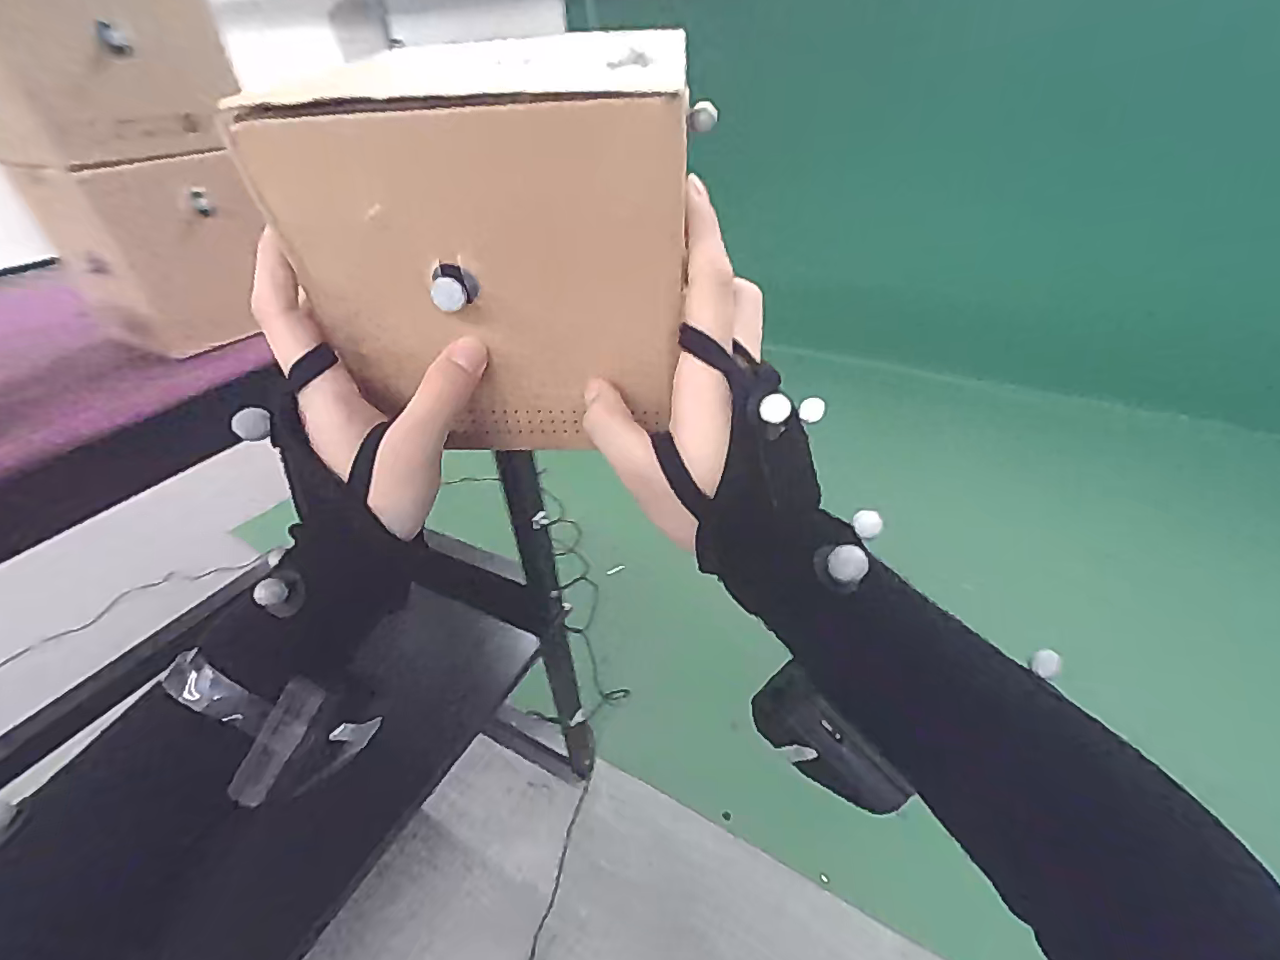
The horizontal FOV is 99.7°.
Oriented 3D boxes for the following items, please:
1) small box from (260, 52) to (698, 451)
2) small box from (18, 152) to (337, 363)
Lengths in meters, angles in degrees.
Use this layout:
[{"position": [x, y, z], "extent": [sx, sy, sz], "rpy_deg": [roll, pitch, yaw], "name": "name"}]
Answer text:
[{"position": [-0.056, -0.130, 0.318], "extent": [0.179, 0.176, 0.168], "rpy_deg": [0, 45, 6], "name": "small box"}, {"position": [-0.473, -0.241, 0.579], "extent": [0.168, 0.176, 0.179], "rpy_deg": [18, 42, 27], "name": "small box"}]
